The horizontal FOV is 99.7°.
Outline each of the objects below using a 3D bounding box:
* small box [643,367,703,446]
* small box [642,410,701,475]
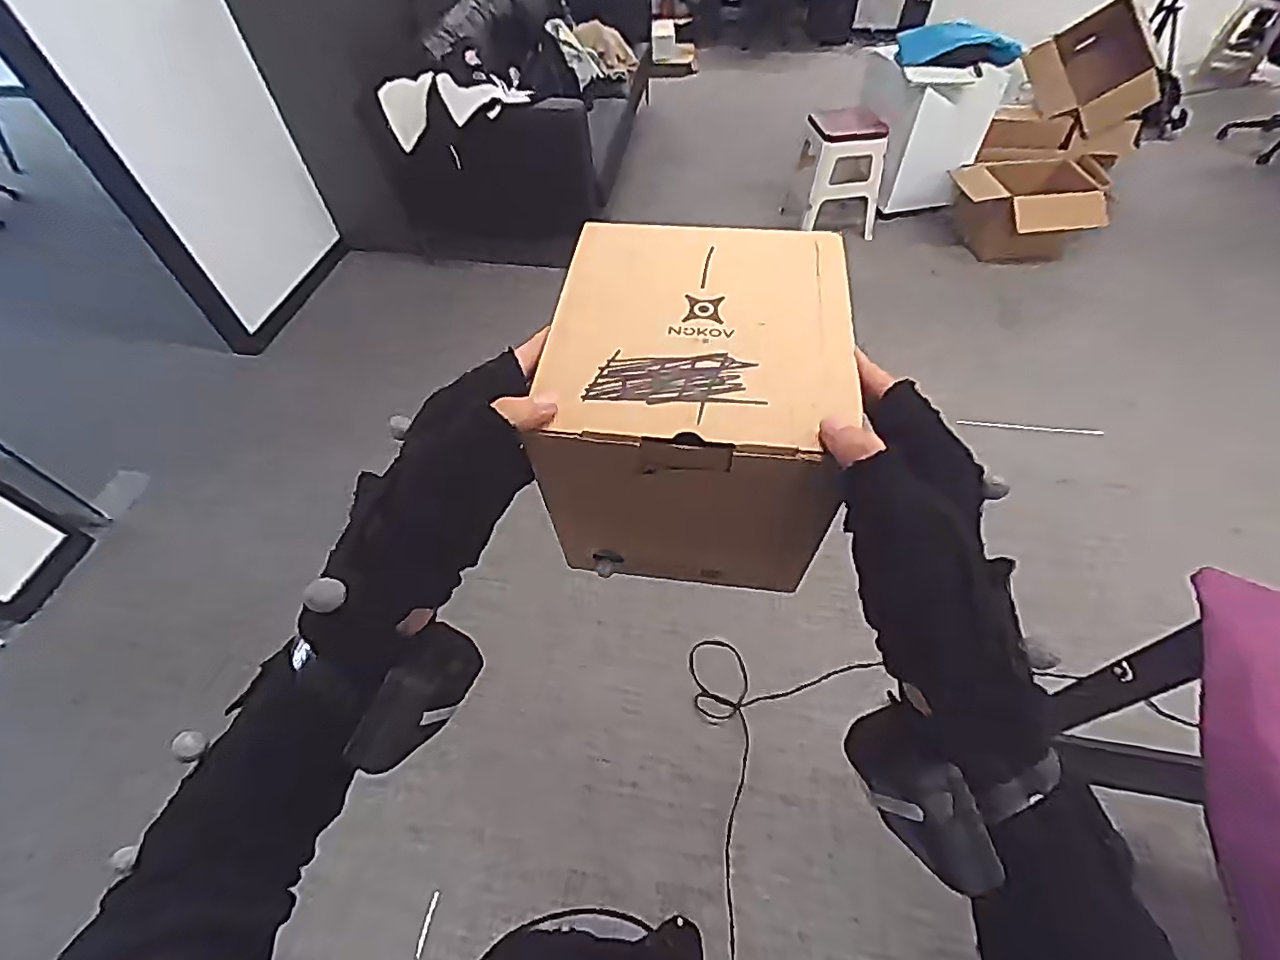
[{"bbox_3d":[0.102,-0.232,1.705,0.168,0.176,0.179,6,52,7],"label":"small box"},{"bbox_3d":[0.108,-0.132,1.836,0.179,0.176,0.168,6,53,7],"label":"small box"}]
